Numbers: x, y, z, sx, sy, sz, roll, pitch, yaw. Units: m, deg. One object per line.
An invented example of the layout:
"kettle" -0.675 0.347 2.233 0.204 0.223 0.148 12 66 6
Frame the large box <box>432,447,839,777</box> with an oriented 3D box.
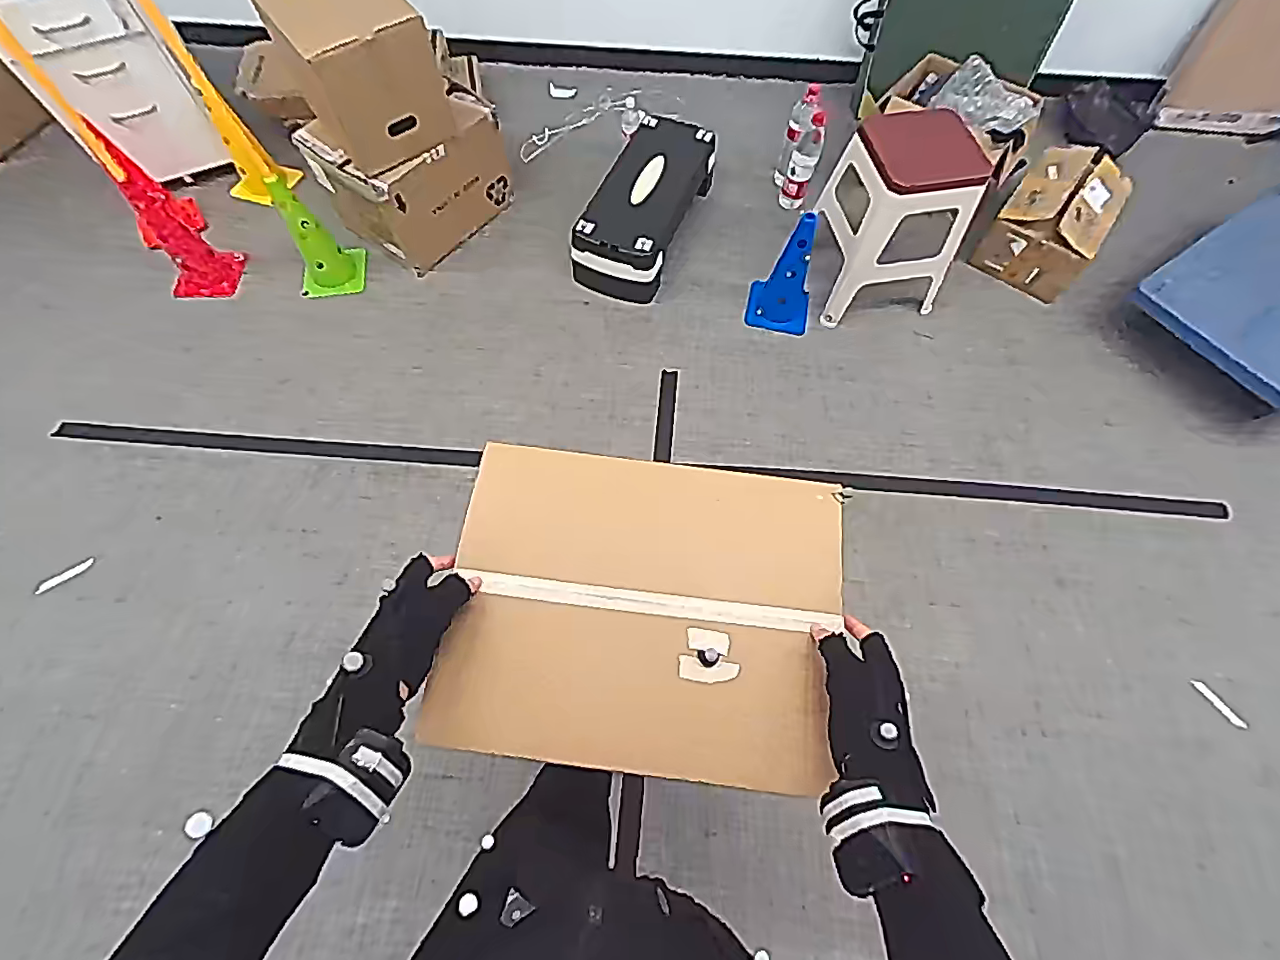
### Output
"large box" 0.004 0.177 0.710 0.408 0.320 0.320 7 69 1
